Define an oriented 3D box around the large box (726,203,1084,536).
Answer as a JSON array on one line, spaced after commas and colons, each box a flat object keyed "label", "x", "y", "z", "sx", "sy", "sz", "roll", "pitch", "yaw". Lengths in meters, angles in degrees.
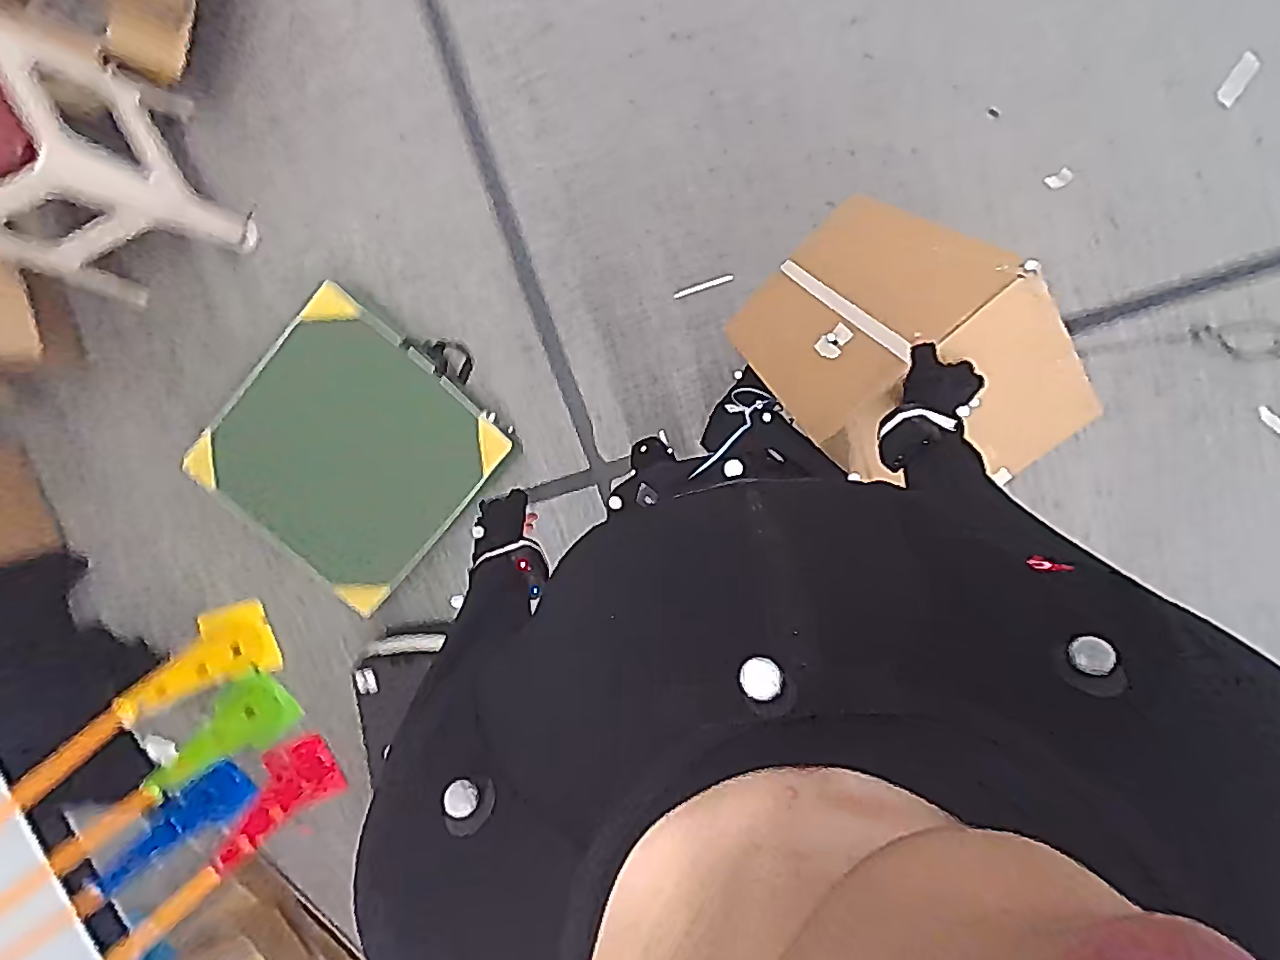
[{"label": "large box", "x": 0.407, "y": -0.188, "z": 0.902, "sx": 0.320, "sy": 0.408, "sz": 0.320, "roll": -42, "pitch": 126, "yaw": 20}]
